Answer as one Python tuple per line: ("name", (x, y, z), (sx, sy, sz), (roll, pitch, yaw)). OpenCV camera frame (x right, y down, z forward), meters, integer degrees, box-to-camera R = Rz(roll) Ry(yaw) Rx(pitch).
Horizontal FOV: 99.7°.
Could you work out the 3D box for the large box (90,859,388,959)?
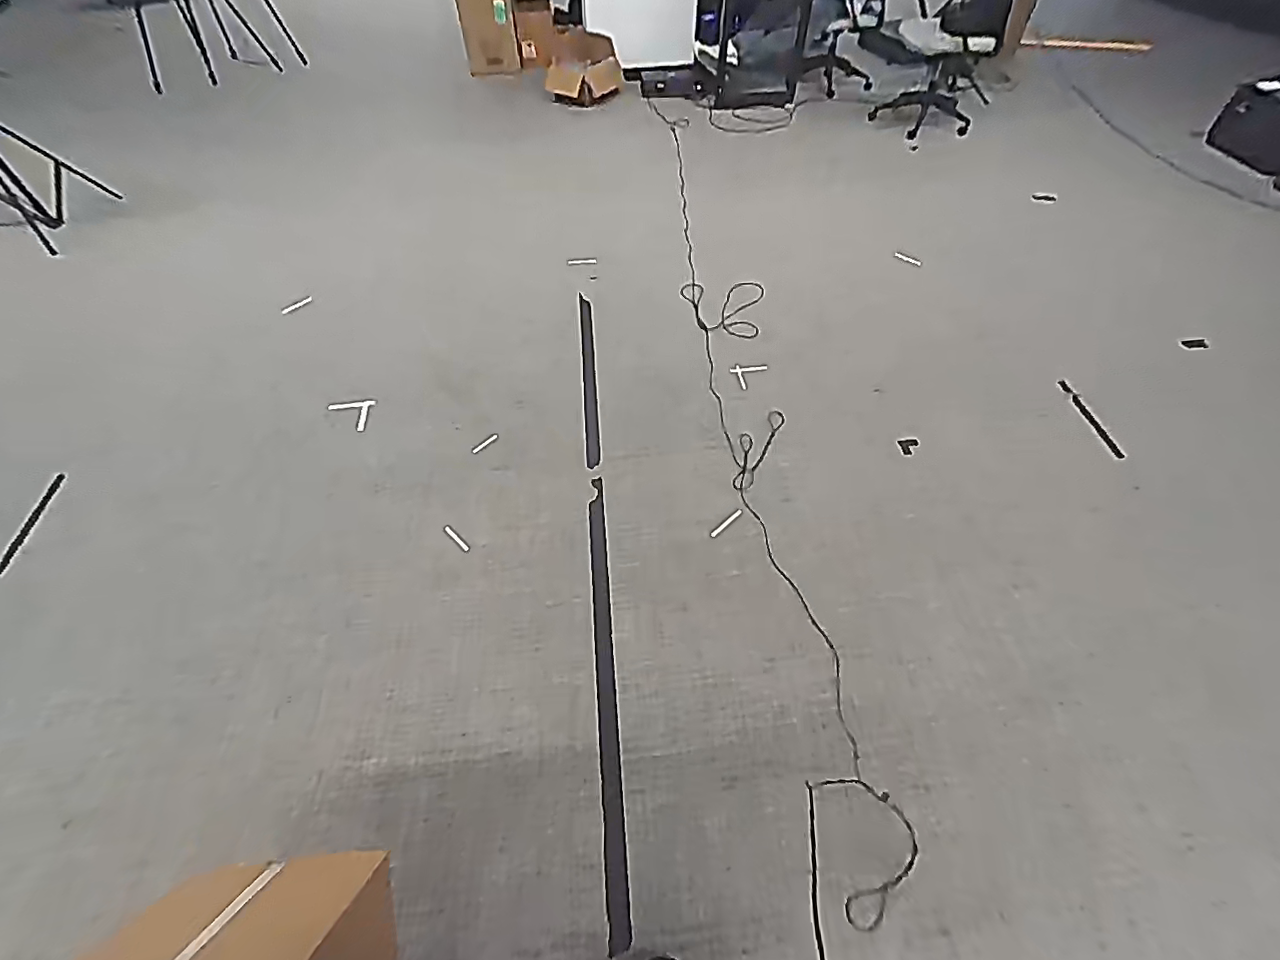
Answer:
("large box", (-0.518, 0.725, 0.610), (0.320, 0.408, 0.320), (-8, 87, 0))
